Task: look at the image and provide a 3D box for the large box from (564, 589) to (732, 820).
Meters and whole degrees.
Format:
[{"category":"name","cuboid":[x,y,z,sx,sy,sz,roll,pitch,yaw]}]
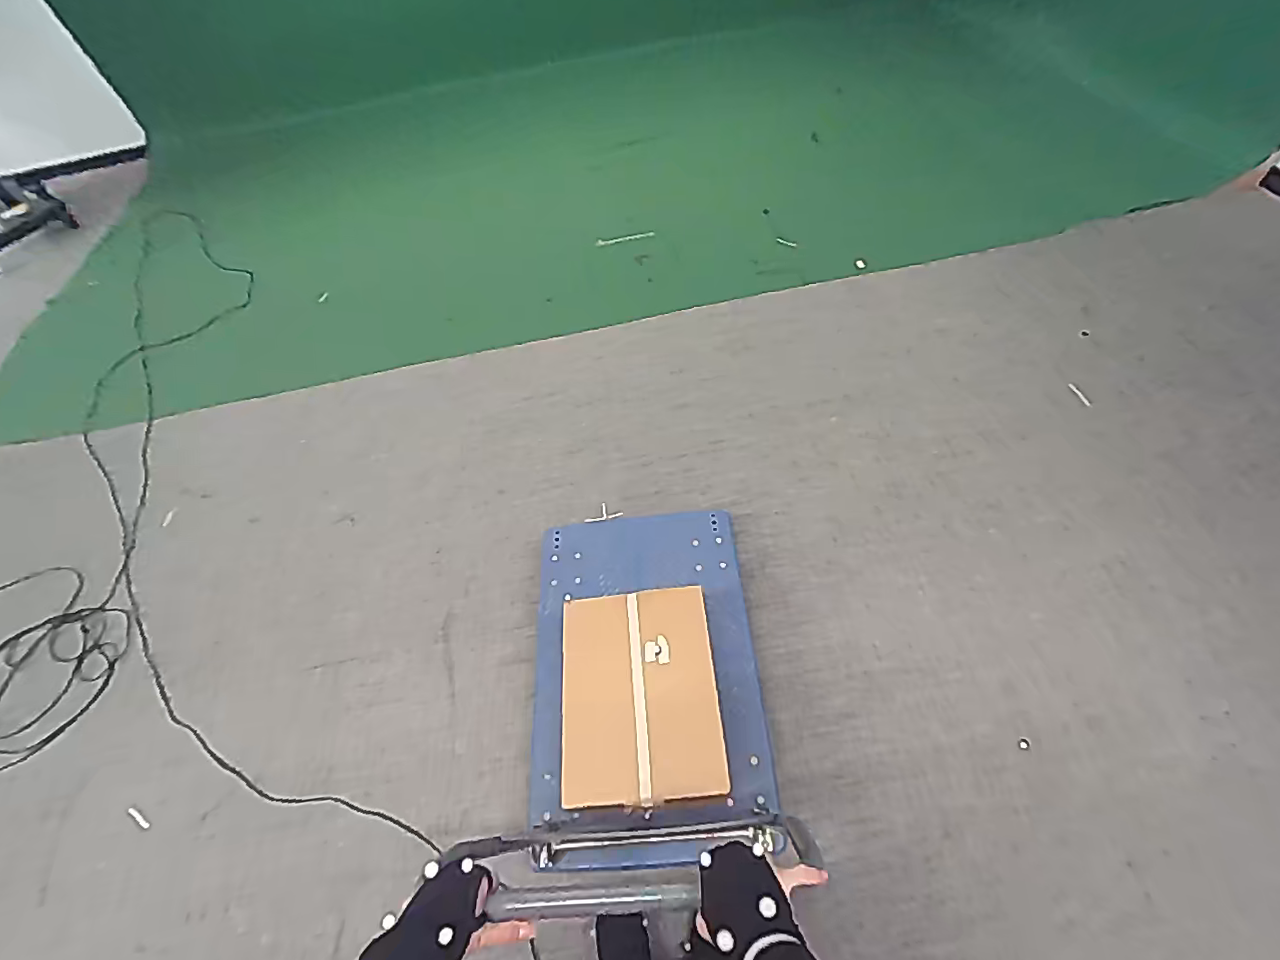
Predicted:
[{"category":"large box","cuboid":[0.018,0.507,1.213,0.320,0.320,0.408,-7,54,3]}]
